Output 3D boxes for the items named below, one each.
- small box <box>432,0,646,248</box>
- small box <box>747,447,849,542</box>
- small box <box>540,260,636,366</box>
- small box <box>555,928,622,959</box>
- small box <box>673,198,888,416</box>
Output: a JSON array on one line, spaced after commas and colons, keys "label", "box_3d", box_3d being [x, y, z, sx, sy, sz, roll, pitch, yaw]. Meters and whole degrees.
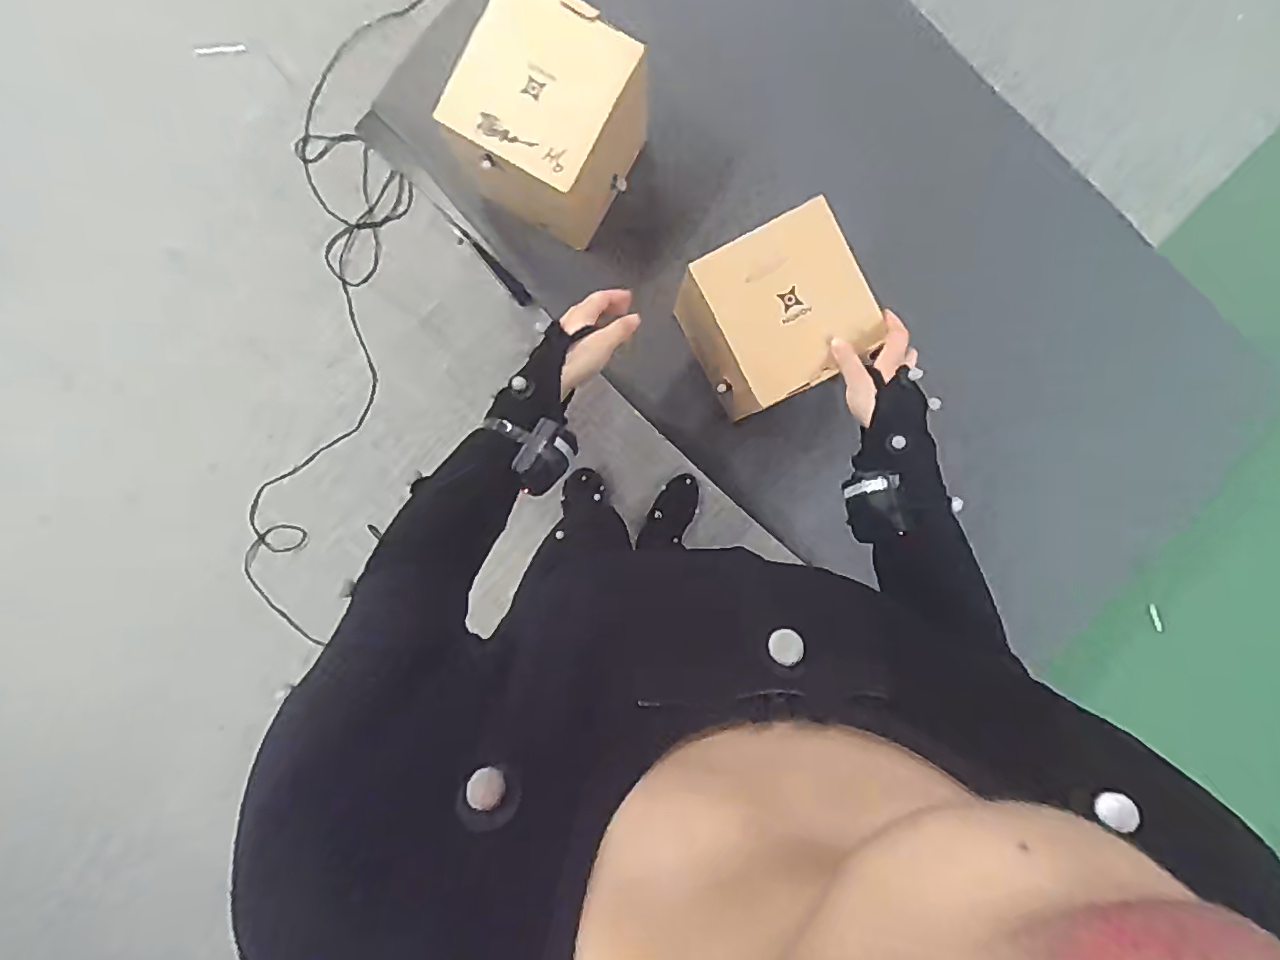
[{"label": "small box", "box_3d": [-0.107, -0.418, 0.643, 0.168, 0.176, 0.179, 30, 92, -1]}, {"label": "small box", "box_3d": [0.391, 0.033, 1.382, 0.168, 0.176, 0.179, 38, 92, -1]}, {"label": "small box", "box_3d": [-0.122, -0.413, 1.375, 0.179, 0.176, 0.168, -43, 91, 1]}, {"label": "small box", "box_3d": [-0.153, 1.357, 1.435, 0.168, 0.176, 0.179, 27, 93, 0]}, {"label": "small box", "box_3d": [0.153, -0.187, 0.650, 0.168, 0.176, 0.179, -28, 91, -2]}]
